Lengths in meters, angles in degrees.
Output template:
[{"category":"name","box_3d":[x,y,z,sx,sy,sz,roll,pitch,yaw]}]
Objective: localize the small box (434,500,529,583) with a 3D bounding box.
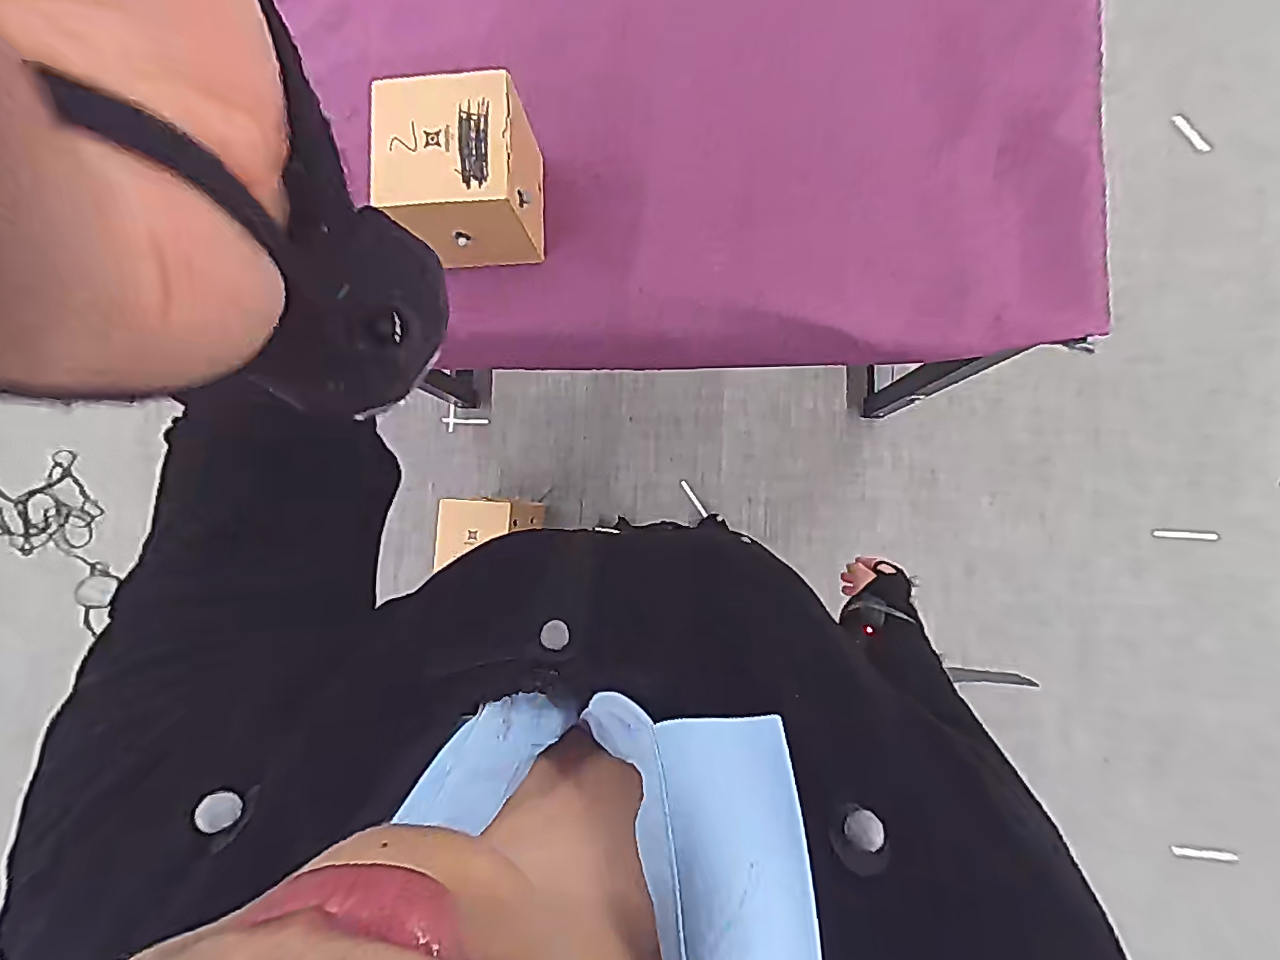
[{"category":"small box","box_3d":[-0.367,0.141,1.282,0.168,0.176,0.179,4,87,4]}]

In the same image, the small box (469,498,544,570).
[{"category":"small box","box_3d":[-0.364,0.148,1.447,0.168,0.176,0.179,9,87,4]}]
